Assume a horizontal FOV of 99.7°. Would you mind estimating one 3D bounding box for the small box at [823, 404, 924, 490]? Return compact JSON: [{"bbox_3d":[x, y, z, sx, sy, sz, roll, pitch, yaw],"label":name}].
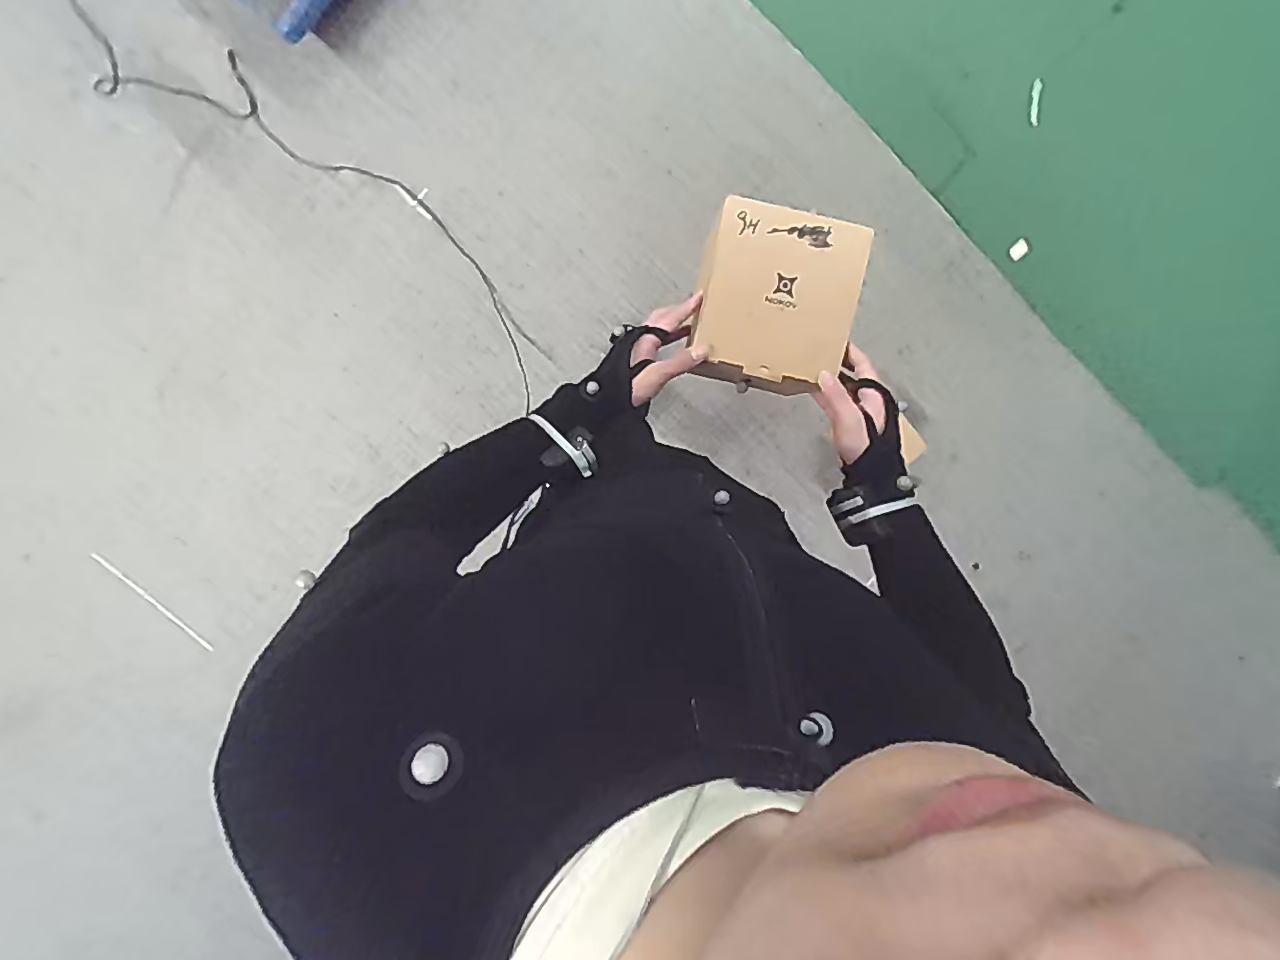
[{"bbox_3d":[0.651,-0.097,1.532,0.168,0.176,0.179,-40,96,8],"label":"small box"}]
